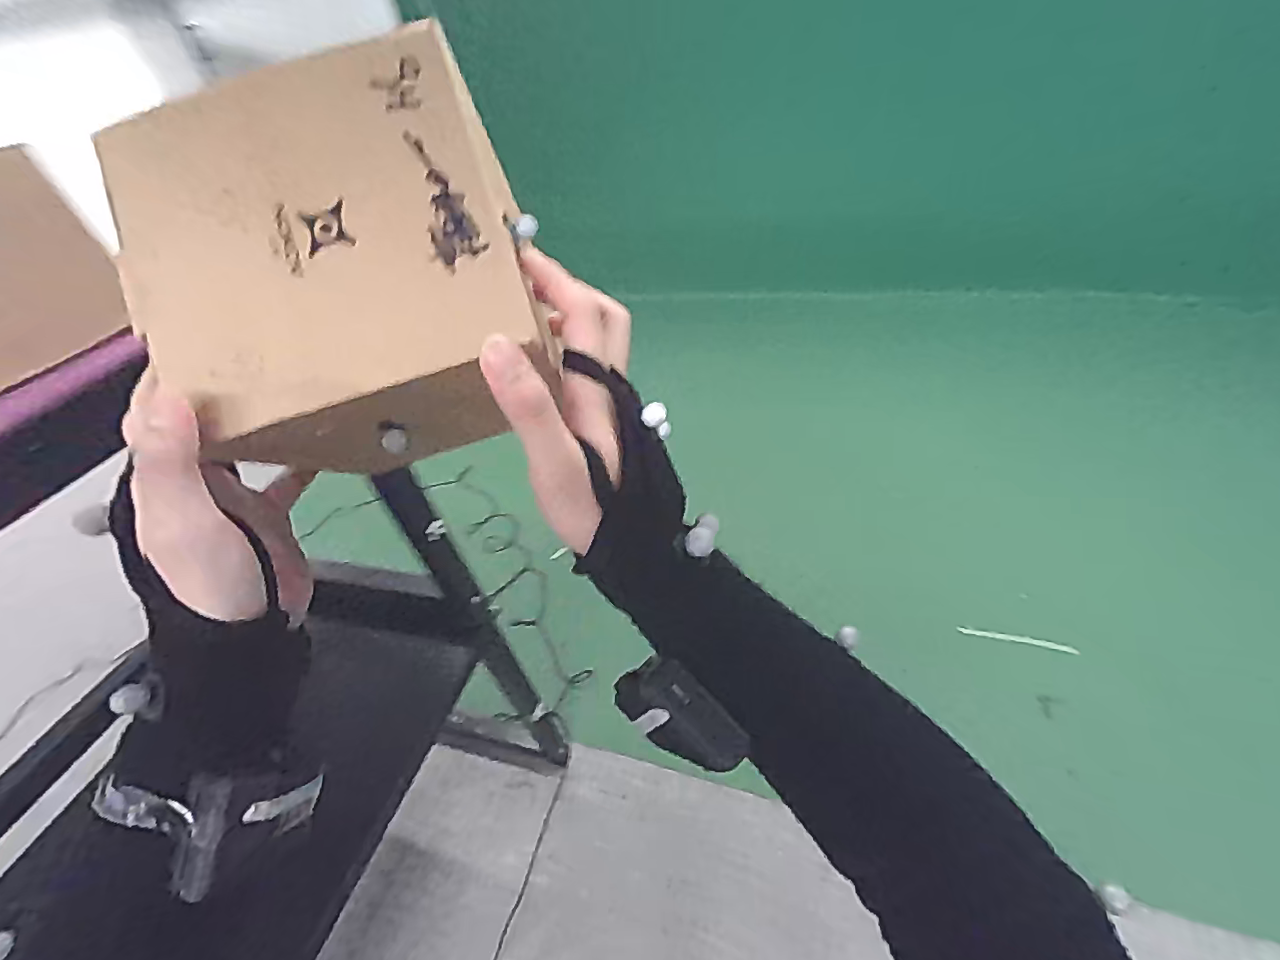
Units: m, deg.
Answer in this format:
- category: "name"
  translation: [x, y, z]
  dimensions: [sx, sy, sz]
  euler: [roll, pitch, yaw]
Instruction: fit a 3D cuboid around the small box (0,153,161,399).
- category: "small box"
  translation: [-0.644, -0.193, 0.526]
  dimensions: [0.168, 0.176, 0.179]
  euler: [7, 45, 22]
